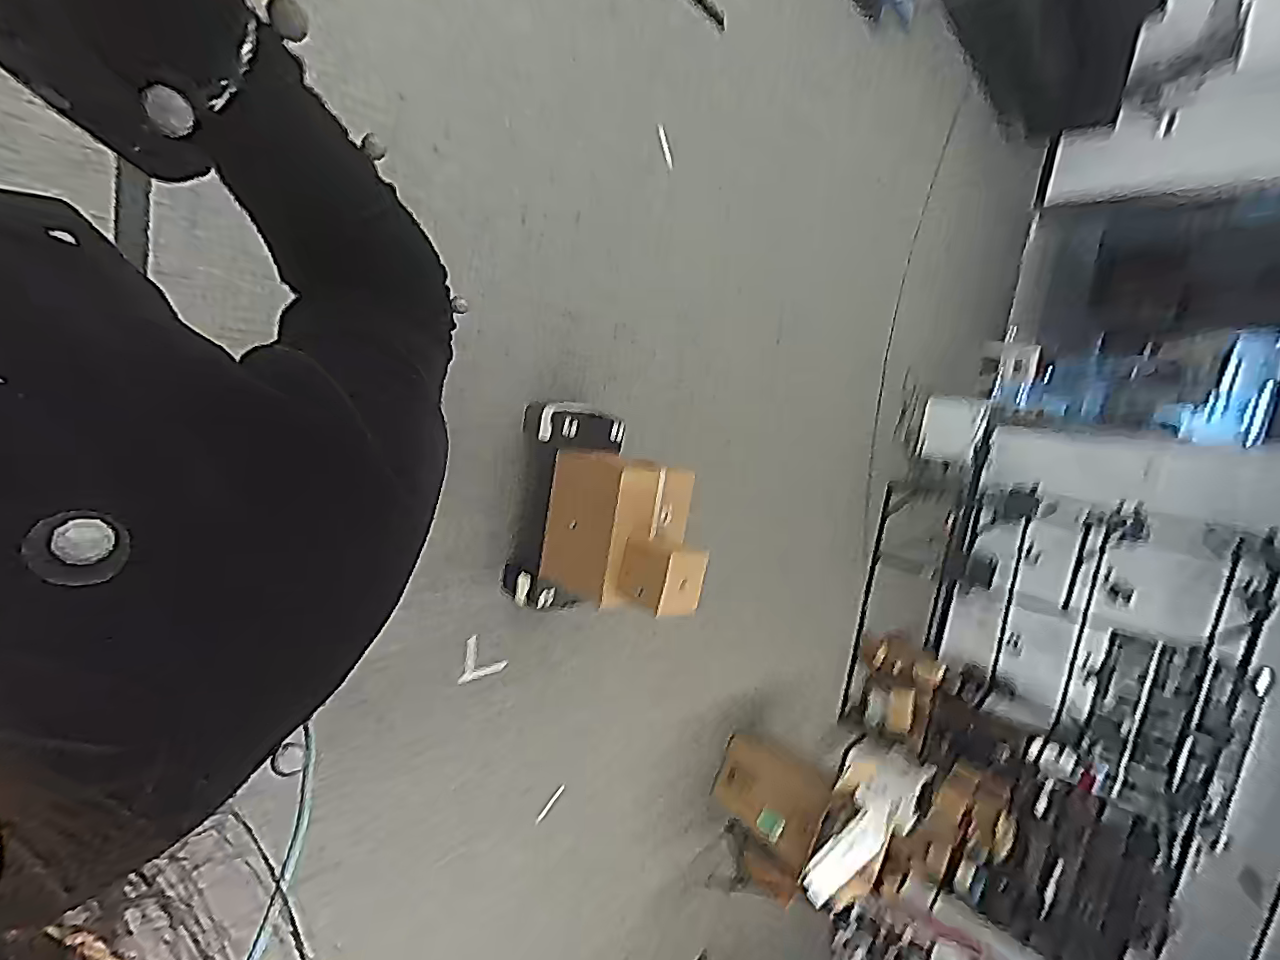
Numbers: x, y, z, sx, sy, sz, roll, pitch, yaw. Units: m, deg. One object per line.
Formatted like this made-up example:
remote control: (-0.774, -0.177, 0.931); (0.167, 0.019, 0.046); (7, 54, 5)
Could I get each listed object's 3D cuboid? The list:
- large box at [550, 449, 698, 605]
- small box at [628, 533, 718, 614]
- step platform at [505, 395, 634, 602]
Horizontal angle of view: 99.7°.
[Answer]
large box: (-0.056, 0.128, 1.677); (0.320, 0.320, 0.408); (1, 100, -46)
small box: (0.087, 0.257, 1.503); (0.168, 0.176, 0.179); (9, 94, -45)
step platform: (-0.230, 0.065, 1.829); (0.286, 0.204, 0.684); (8, 94, -46)
